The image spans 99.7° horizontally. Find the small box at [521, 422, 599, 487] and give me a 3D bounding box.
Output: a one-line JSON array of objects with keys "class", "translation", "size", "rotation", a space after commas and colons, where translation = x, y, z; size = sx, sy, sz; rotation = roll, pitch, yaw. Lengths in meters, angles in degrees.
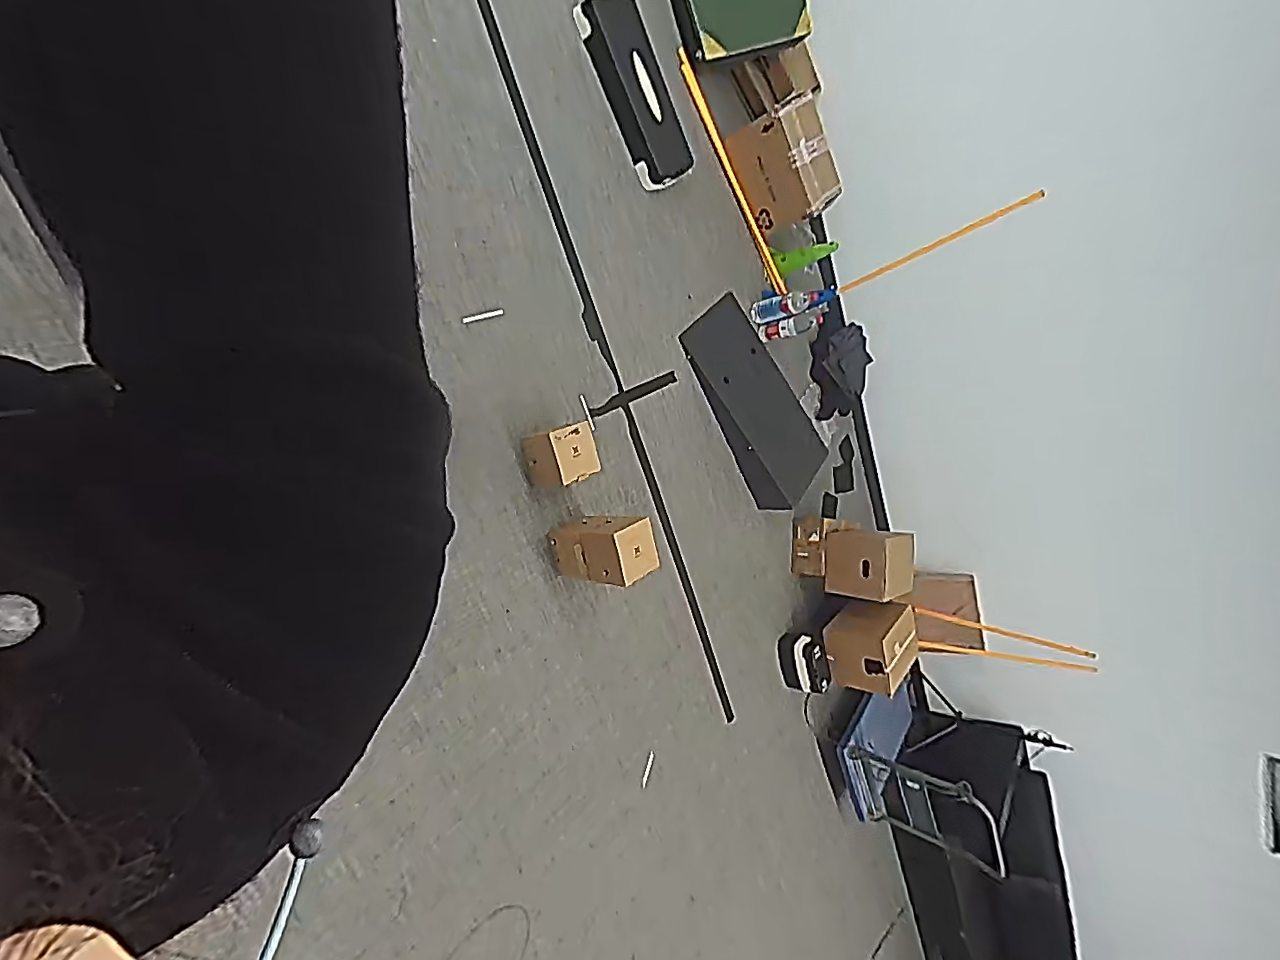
[{"class": "small box", "translation": [-0.266, -0.085, 1.791], "size": [0.168, 0.176, 0.179], "rotation": [-26, 107, -42]}]

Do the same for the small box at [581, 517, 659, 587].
[{"class": "small box", "translation": [-0.066, 0.226, 1.748], "size": [0.168, 0.176, 0.179], "rotation": [-23, 104, -44]}]

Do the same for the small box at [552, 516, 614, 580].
[{"class": "small box", "translation": [-0.184, 0.229, 1.861], "size": [0.179, 0.176, 0.168], "rotation": [-25, 106, -43]}]
